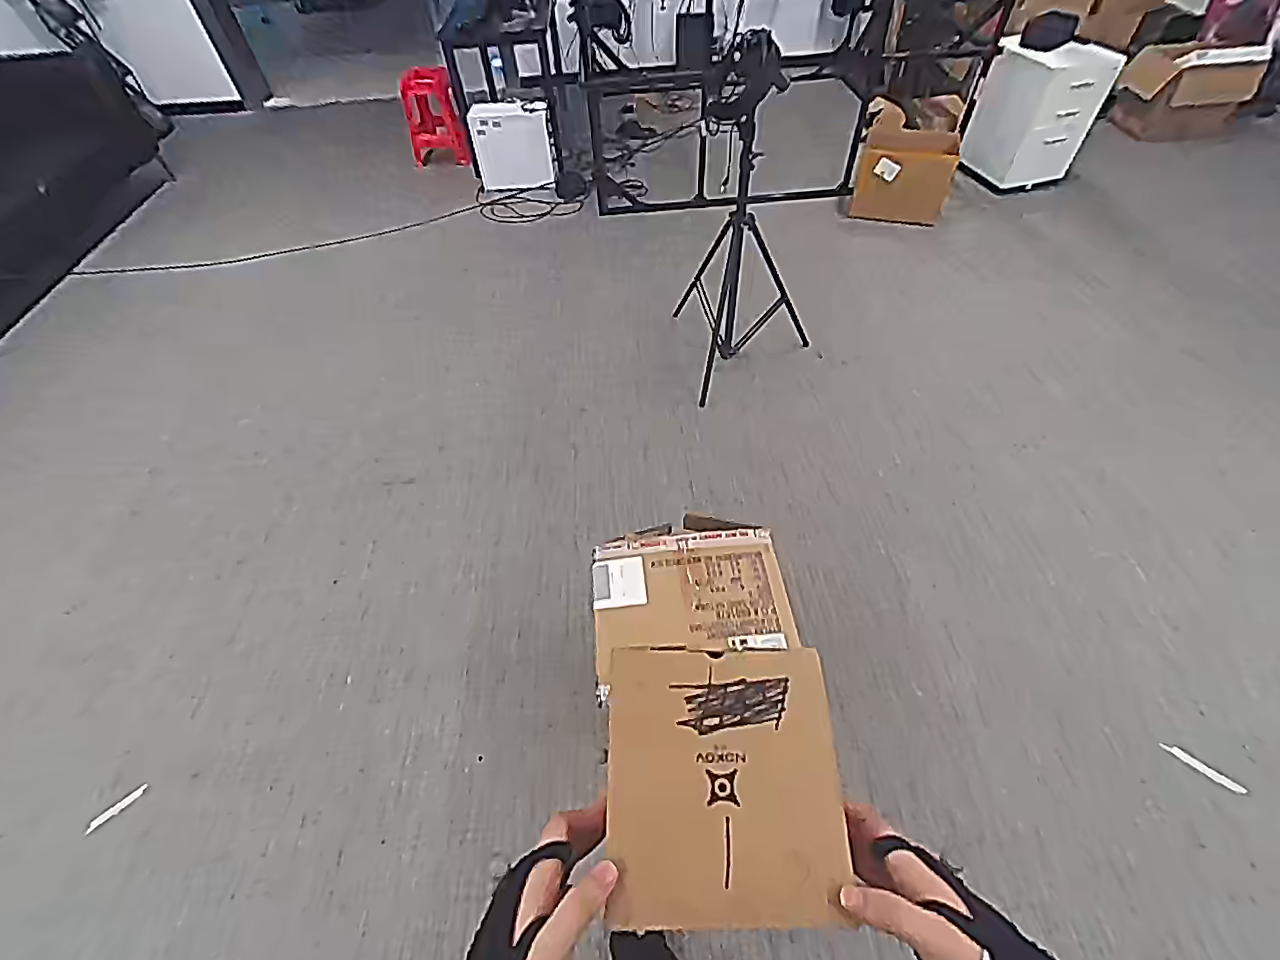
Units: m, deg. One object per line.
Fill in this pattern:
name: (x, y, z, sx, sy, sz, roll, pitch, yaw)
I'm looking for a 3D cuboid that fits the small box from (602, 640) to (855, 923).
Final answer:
small box: (0.055, 0.243, 0.453, 0.168, 0.176, 0.179, 1, 61, -1)
